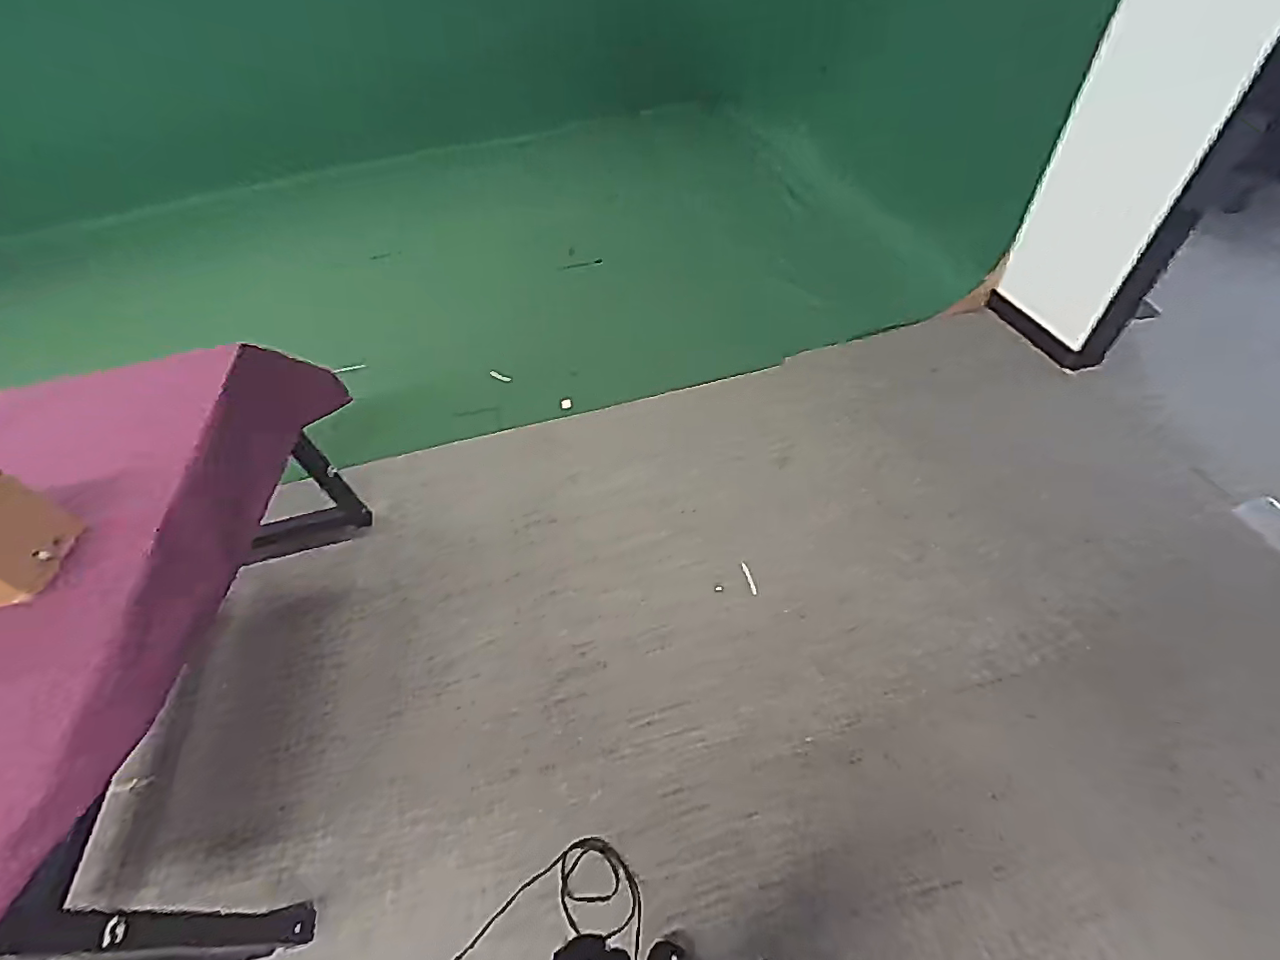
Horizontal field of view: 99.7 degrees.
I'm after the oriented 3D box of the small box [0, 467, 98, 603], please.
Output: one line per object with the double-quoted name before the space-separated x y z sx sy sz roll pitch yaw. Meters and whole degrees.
"small box" -1.118 0.104 0.925 0.179 0.176 0.168 -9 51 0
